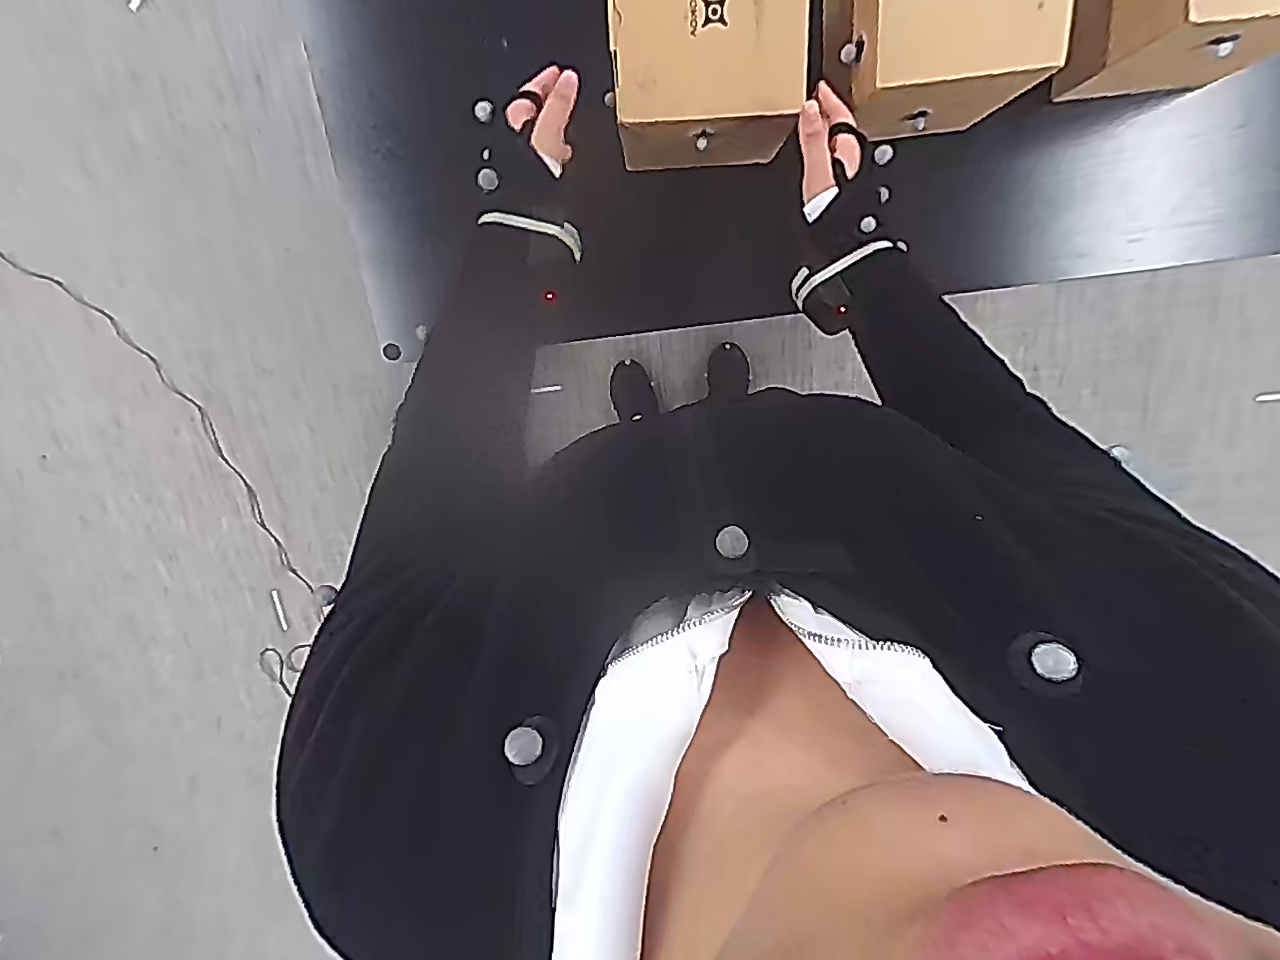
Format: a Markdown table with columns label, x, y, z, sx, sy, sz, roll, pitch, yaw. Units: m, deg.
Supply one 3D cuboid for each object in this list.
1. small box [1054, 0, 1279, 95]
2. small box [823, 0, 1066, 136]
| label | x | y | z | sx | sy | sz | roll | pitch | yaw |
| --- | --- | --- | --- | --- | --- | --- | --- | --- | --- |
| small box | 0.549 | -0.503 | 0.523 | 0.179 | 0.176 | 0.168 | -4 | 106 | 3 |
| small box | 0.291 | -0.469 | 0.543 | 0.168 | 0.176 | 0.179 | -4 | 106 | 3 |
